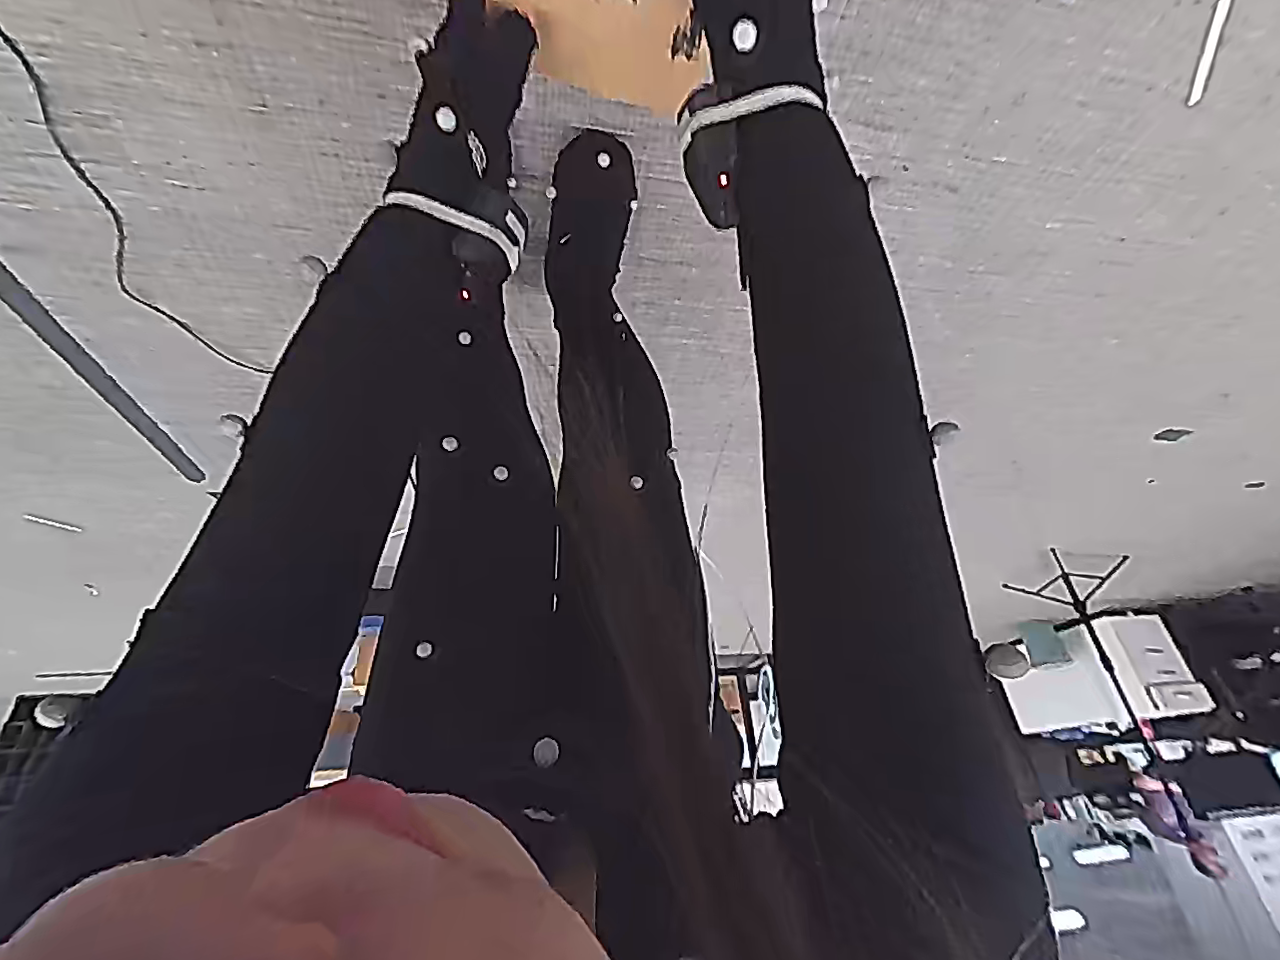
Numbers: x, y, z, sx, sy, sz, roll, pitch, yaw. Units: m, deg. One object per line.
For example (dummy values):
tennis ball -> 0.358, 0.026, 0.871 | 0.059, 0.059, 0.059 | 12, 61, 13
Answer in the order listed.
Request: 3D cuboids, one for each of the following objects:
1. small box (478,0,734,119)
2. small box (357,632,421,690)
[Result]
small box -> -0.017, -0.428, 0.405 | 0.179, 0.176, 0.168 | 7, 158, -17
small box -> -0.903, 0.655, 1.958 | 0.179, 0.176, 0.168 | 3, 150, -15
